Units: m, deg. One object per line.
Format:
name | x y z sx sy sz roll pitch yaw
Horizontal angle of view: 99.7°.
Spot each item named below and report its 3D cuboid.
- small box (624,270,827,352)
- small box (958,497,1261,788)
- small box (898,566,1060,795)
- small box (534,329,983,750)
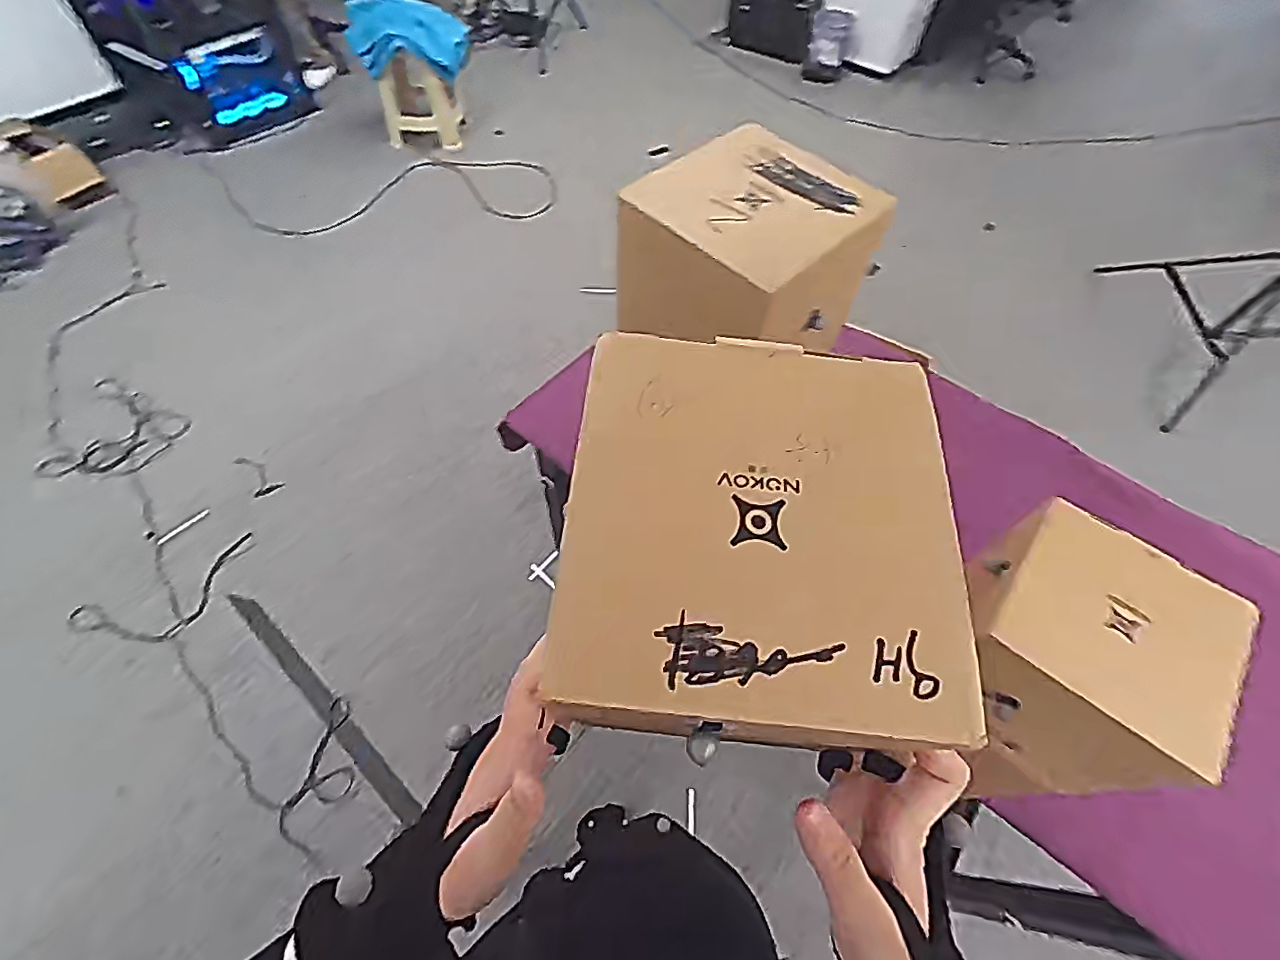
small box | 0.086 -0.110 0.653 0.168 0.176 0.179 40 66 20
small box | 0.393 0.157 0.505 0.168 0.176 0.179 36 63 20
small box | 0.390 0.241 0.644 0.168 0.176 0.179 37 65 20
small box | 0.045 0.045 0.302 0.168 0.176 0.179 5 63 0
